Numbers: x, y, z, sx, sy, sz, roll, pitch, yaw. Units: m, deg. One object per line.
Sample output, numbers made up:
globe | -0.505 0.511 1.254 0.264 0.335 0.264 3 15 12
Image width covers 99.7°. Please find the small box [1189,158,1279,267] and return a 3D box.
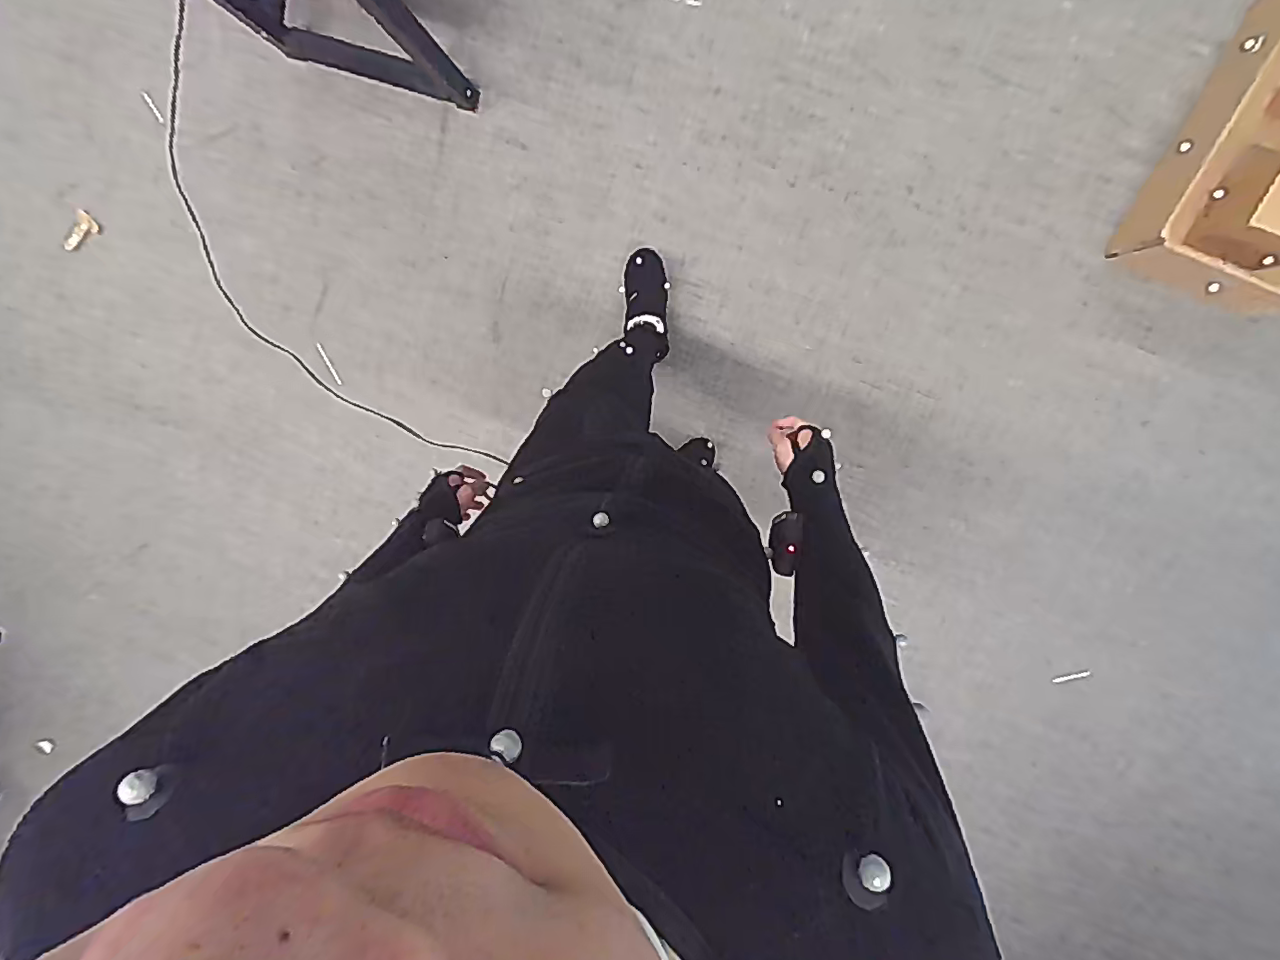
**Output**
small box | 1.378 -0.577 1.166 0.179 0.176 0.168 25 102 3
